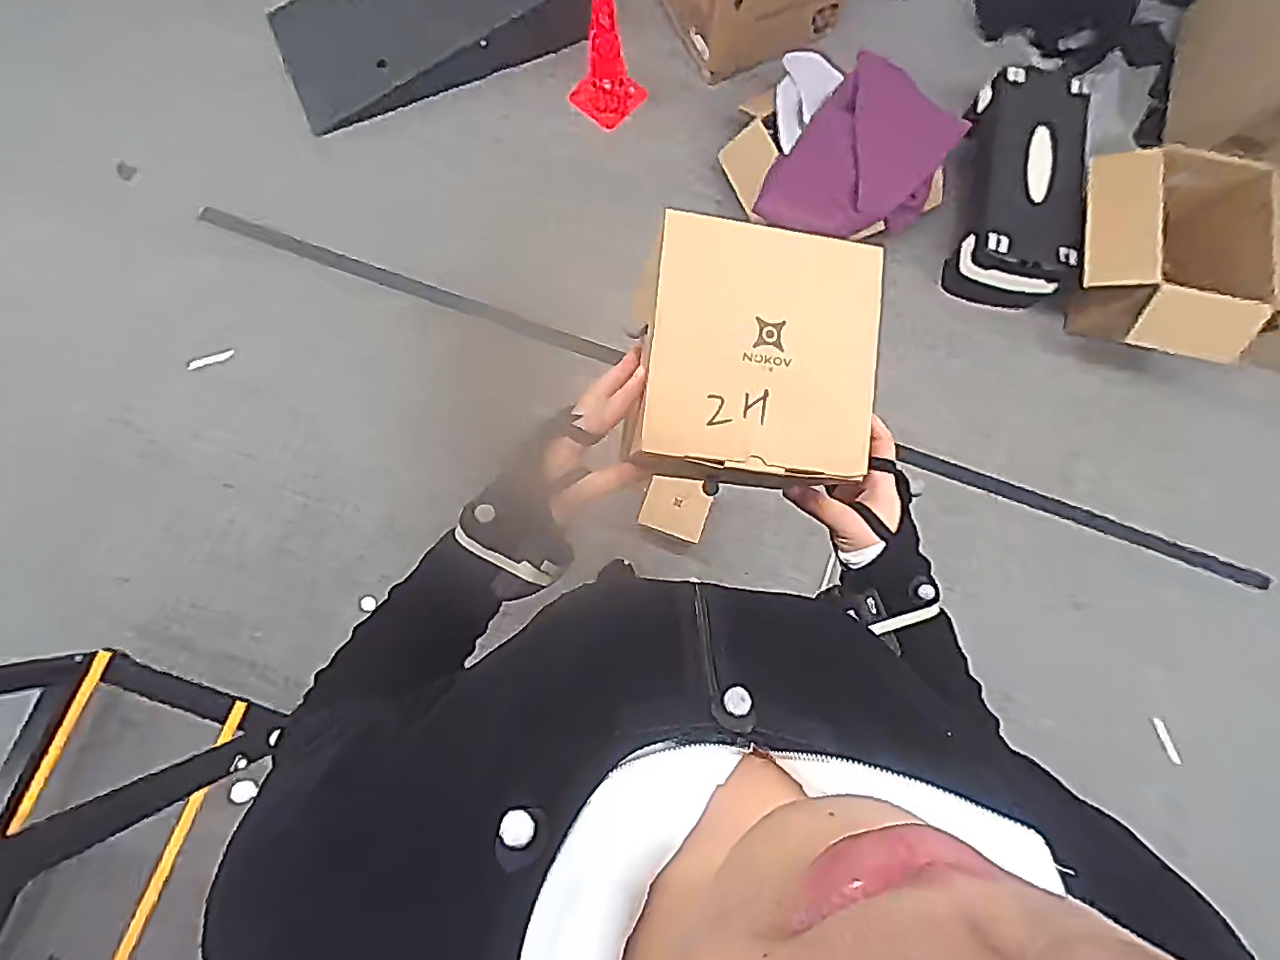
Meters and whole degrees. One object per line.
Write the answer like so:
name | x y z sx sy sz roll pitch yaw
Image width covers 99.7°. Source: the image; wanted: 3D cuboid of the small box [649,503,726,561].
small box | 0.122 0.099 1.385 0.168 0.176 0.179 19 82 2

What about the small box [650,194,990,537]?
small box | 0.104 -0.058 0.377 0.168 0.176 0.179 6 86 -7
